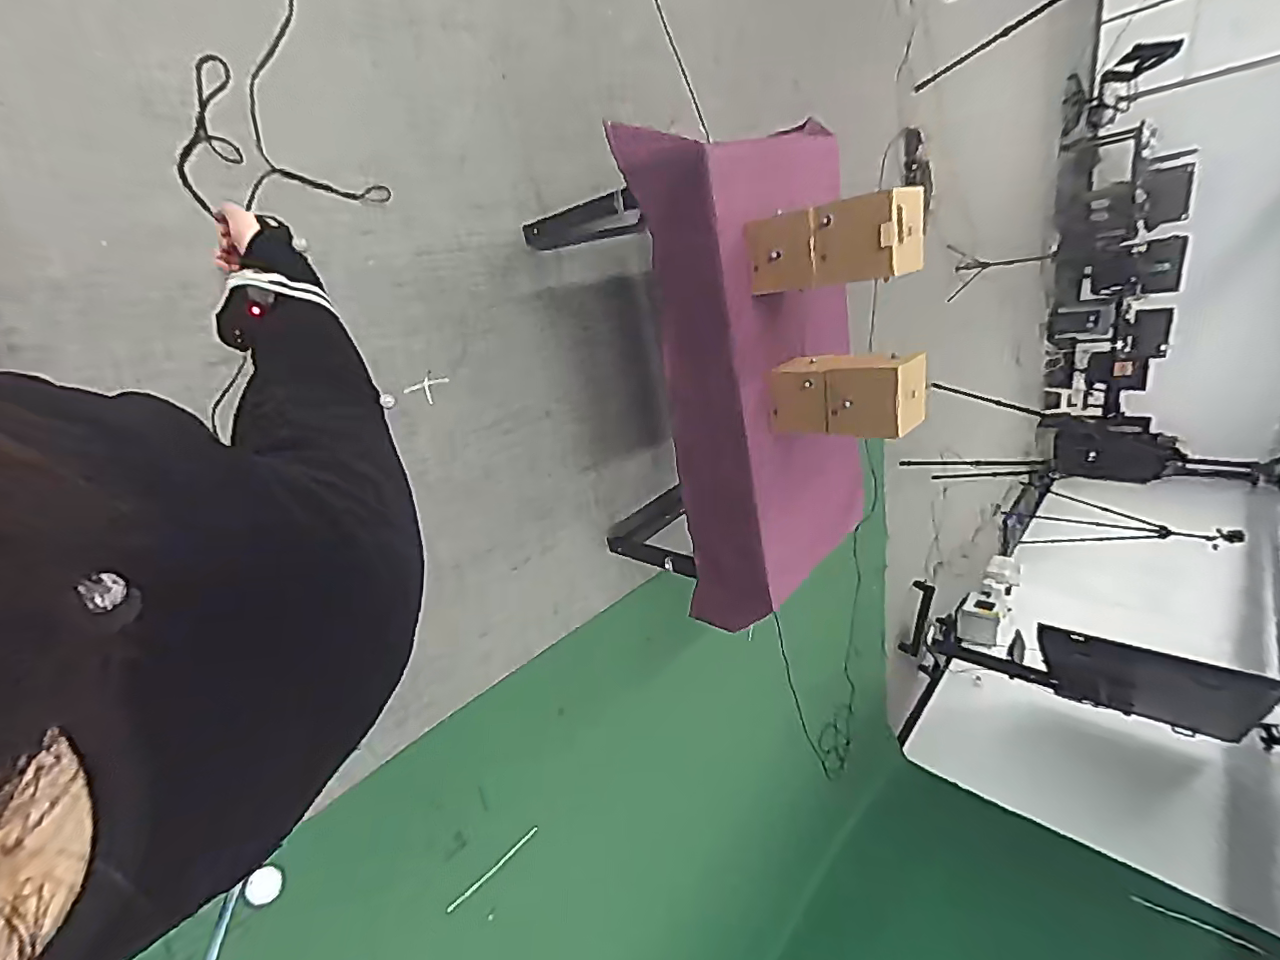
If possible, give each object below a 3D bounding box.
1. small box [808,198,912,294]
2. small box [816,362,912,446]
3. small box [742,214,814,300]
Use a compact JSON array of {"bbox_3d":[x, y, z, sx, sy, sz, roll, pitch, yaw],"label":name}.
[{"bbox_3d":[0.480,-0.510,1.187,0.179,0.176,0.168,-28,117,-41],"label":"small box"},{"bbox_3d":[0.544,-0.192,1.317,0.179,0.176,0.168,-26,115,-41],"label":"small box"},{"bbox_3d":[0.356,-0.532,1.295,0.179,0.176,0.168,-28,118,-39],"label":"small box"}]
